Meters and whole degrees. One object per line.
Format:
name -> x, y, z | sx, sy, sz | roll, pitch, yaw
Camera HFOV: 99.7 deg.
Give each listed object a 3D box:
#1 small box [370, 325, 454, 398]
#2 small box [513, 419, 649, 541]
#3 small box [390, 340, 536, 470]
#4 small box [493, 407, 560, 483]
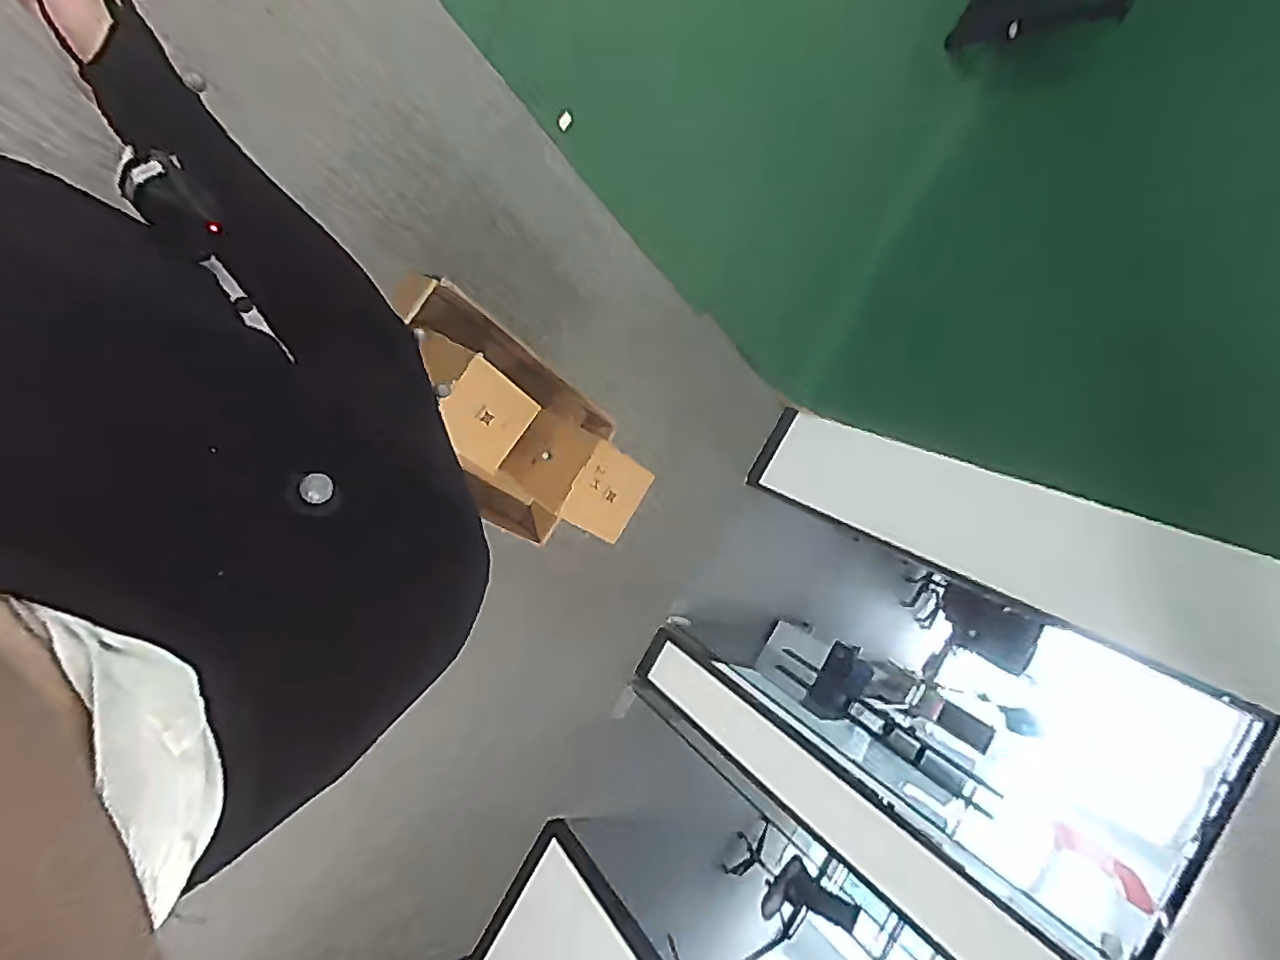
small box -> -0.442, -0.213, 1.160 | 0.168, 0.176, 0.179 | -56, 139, -5
small box -> -0.121, -0.005, 1.100 | 0.179, 0.176, 0.168 | 35, 85, -45
small box -> -0.345, -0.150, 1.044 | 0.168, 0.176, 0.179 | -54, 138, -6
small box -> -0.216, -0.055, 1.225 | 0.179, 0.176, 0.168 | 37, 84, -45
